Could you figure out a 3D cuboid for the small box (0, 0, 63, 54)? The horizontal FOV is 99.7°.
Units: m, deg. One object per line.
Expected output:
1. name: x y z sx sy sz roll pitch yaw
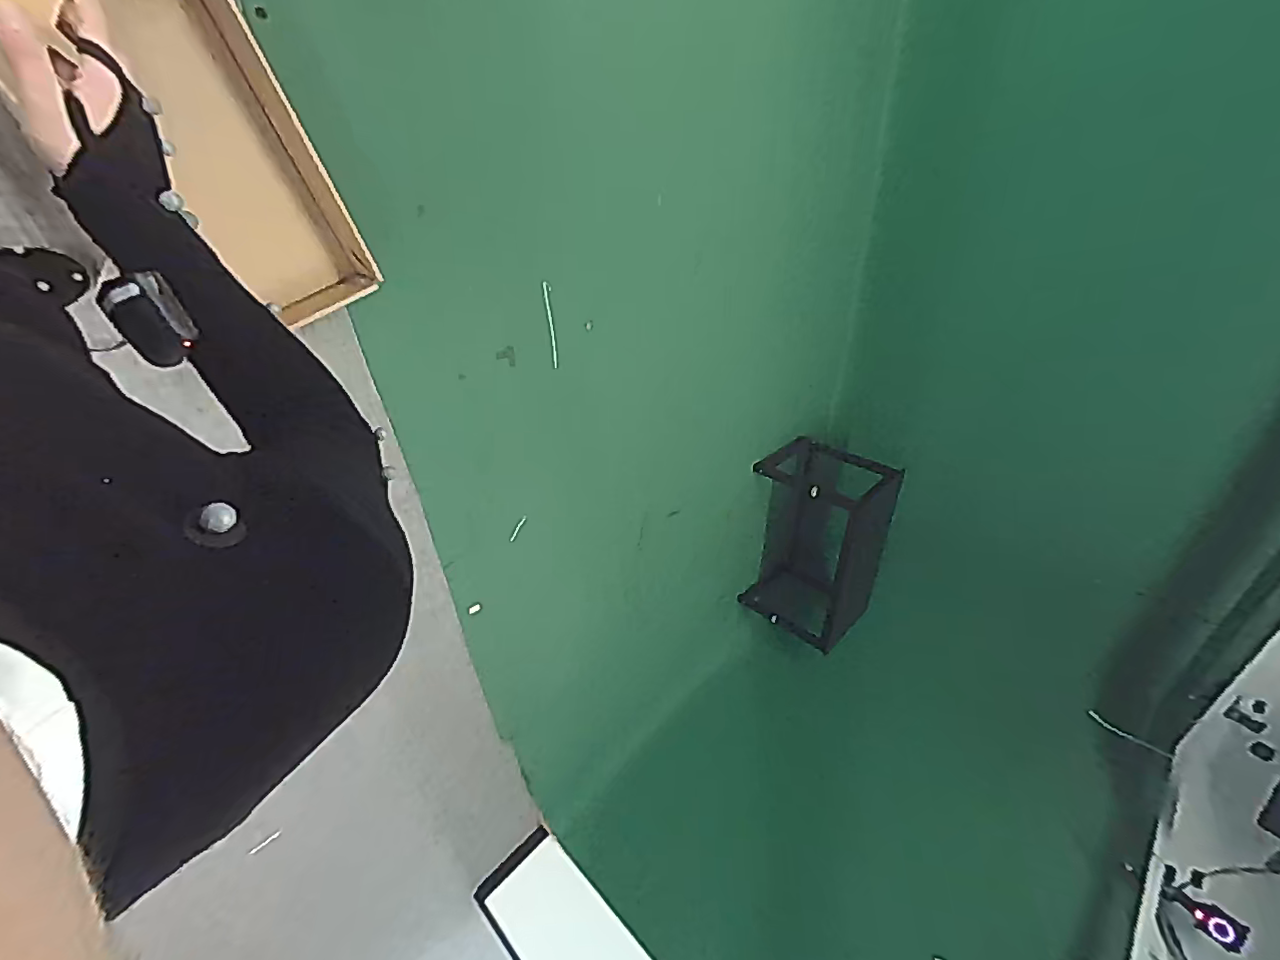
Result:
1. small box: -0.496 -0.433 0.353 0.168 0.176 0.179 15 105 -59
